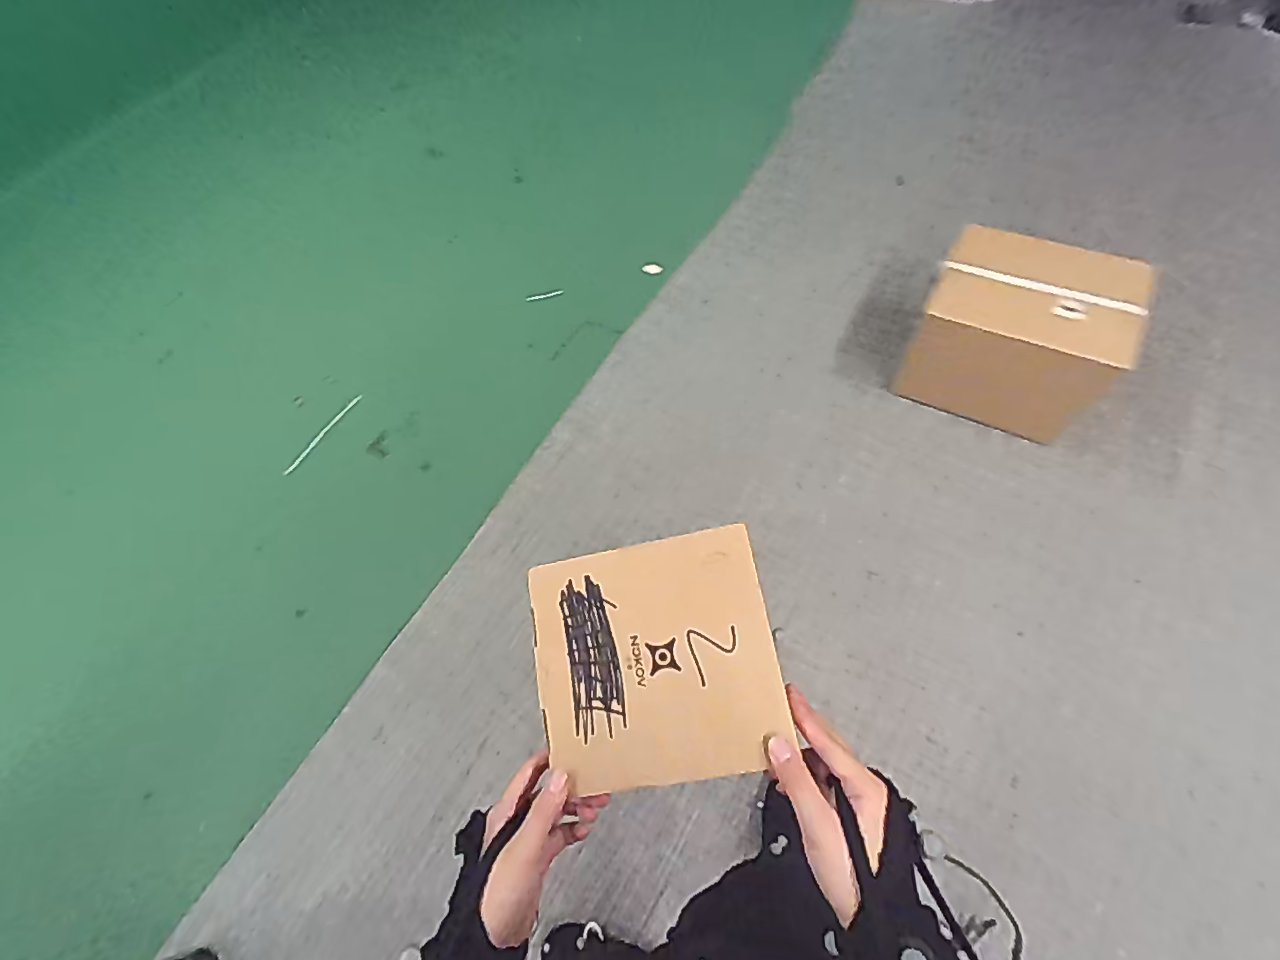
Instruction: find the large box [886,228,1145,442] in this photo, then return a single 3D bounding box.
[{"bbox_3d":[0.890,-0.351,1.333,0.408,0.320,0.320,24,70,18],"label":"large box"}]
